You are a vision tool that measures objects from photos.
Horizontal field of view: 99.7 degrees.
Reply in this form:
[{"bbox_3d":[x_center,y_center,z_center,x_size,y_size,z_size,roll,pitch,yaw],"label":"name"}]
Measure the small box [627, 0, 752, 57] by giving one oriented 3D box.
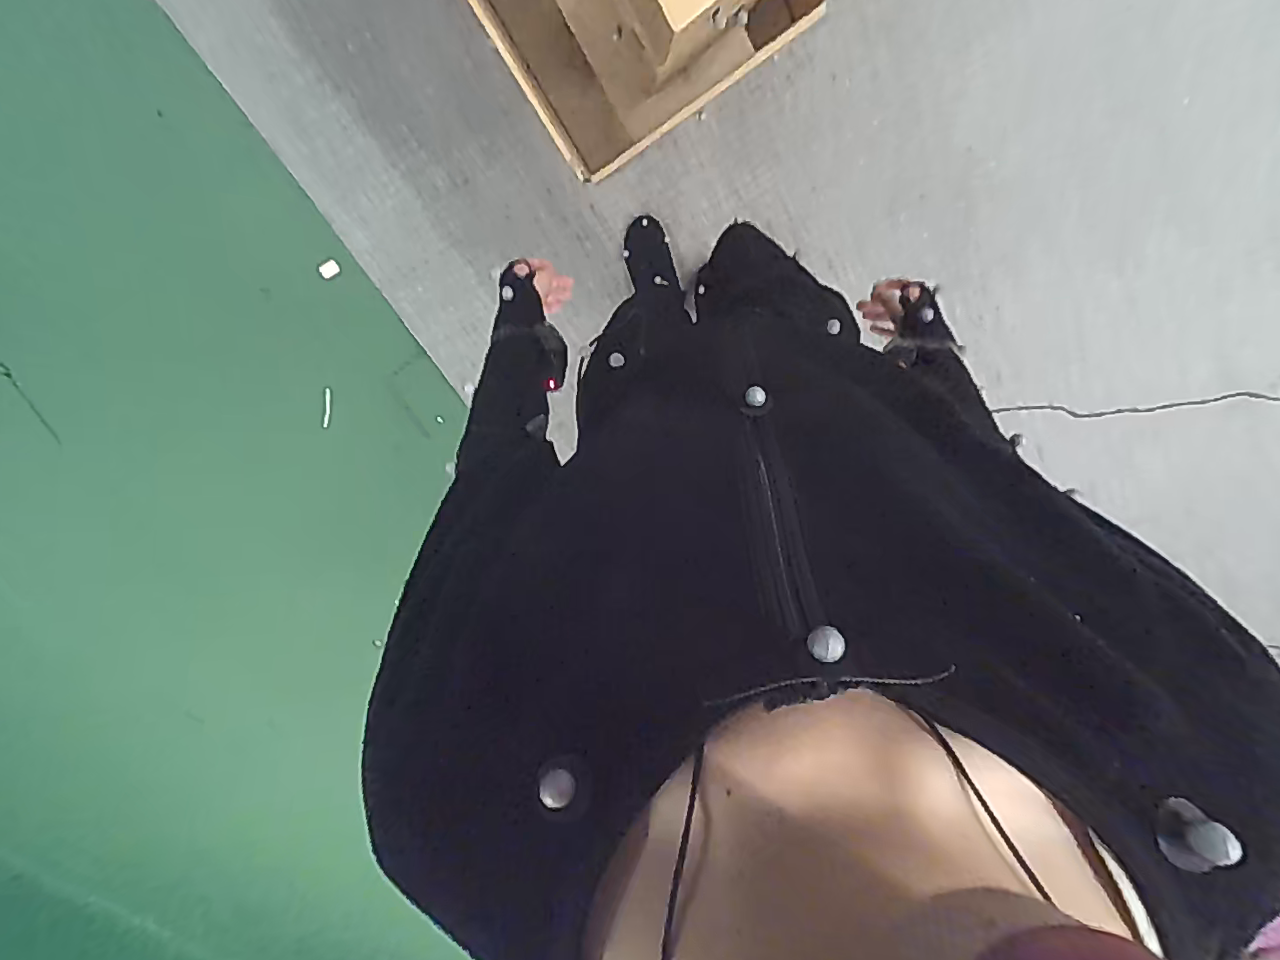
[{"bbox_3d":[0.054,-0.592,0.571,0.168,0.176,0.179,-31,113,14],"label":"small box"}]
